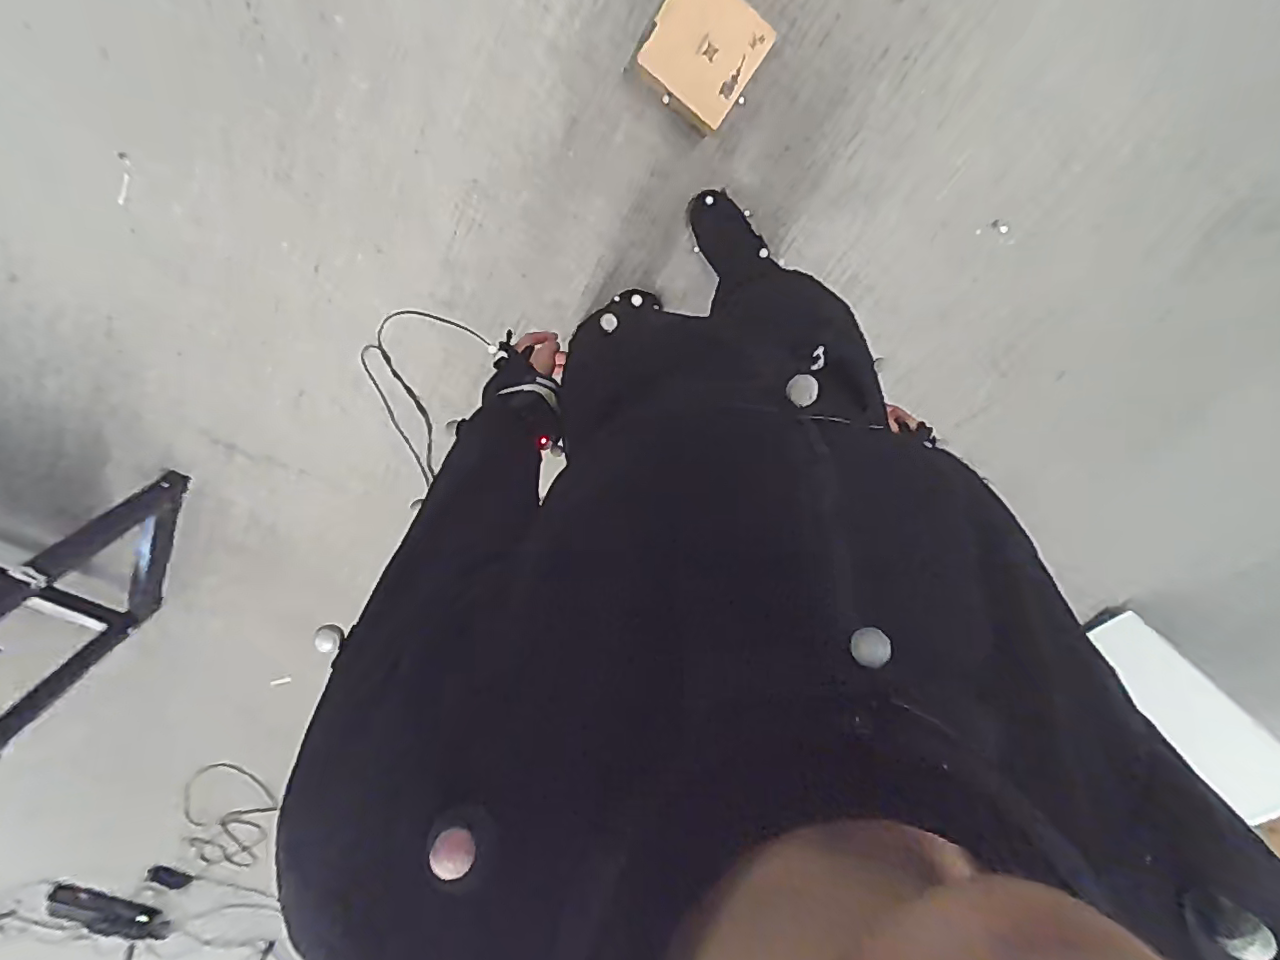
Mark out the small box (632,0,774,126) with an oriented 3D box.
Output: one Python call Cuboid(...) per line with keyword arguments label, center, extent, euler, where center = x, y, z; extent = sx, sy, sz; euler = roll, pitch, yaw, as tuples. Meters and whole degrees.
Cuboid(label="small box", center=(0.104, -0.759, 0.956), extent=(0.179, 0.176, 0.168), euler=(32, 115, -16))
